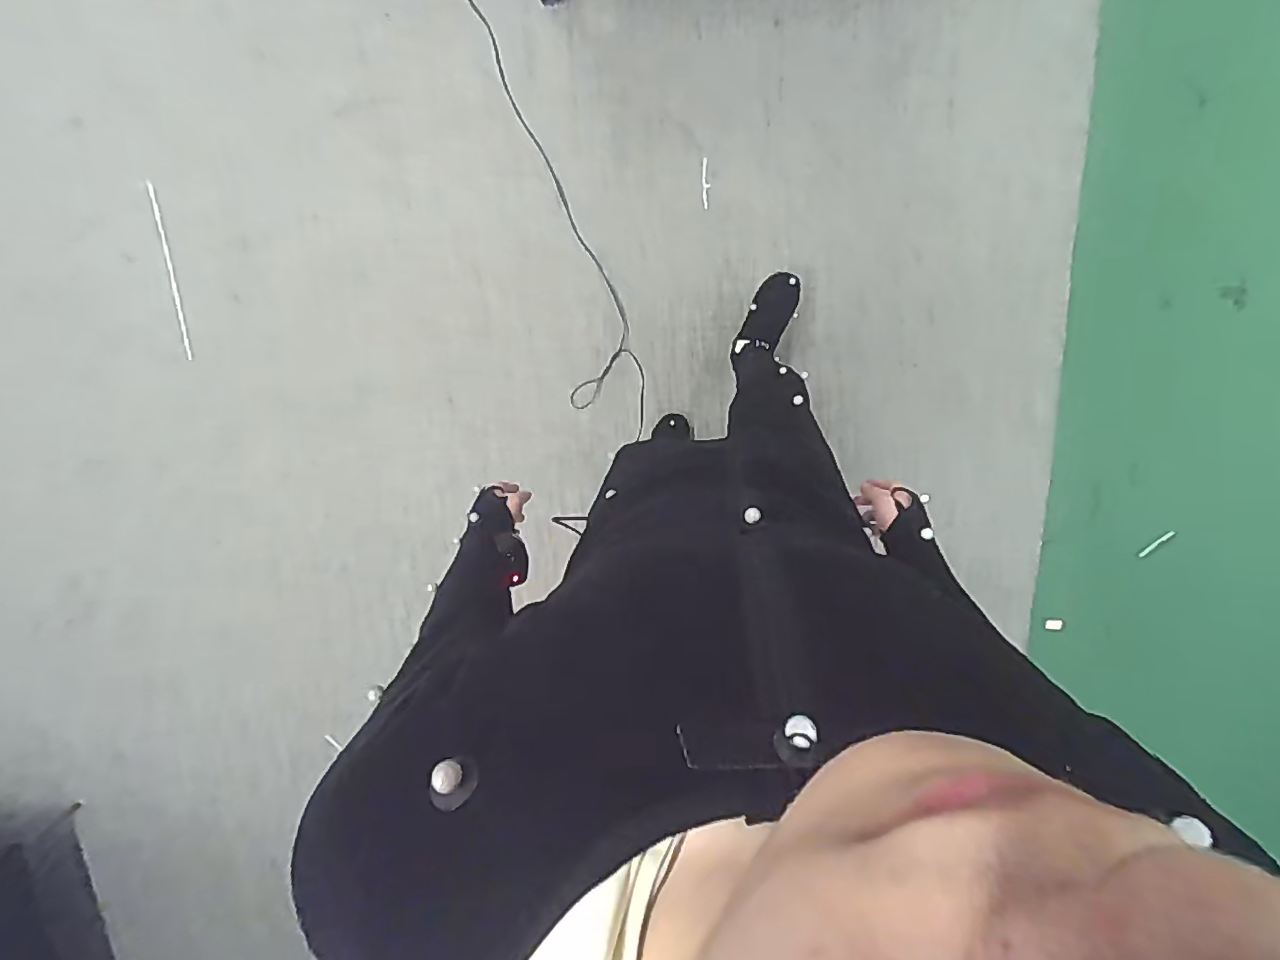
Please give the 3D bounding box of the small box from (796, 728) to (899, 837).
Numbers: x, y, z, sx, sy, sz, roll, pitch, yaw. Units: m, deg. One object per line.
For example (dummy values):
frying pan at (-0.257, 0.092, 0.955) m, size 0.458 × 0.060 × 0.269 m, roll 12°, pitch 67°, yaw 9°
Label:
small box at (0.504, 0.739, 1.335) m, size 0.179 × 0.176 × 0.168 m, roll 4°, pitch 102°, yaw 0°
